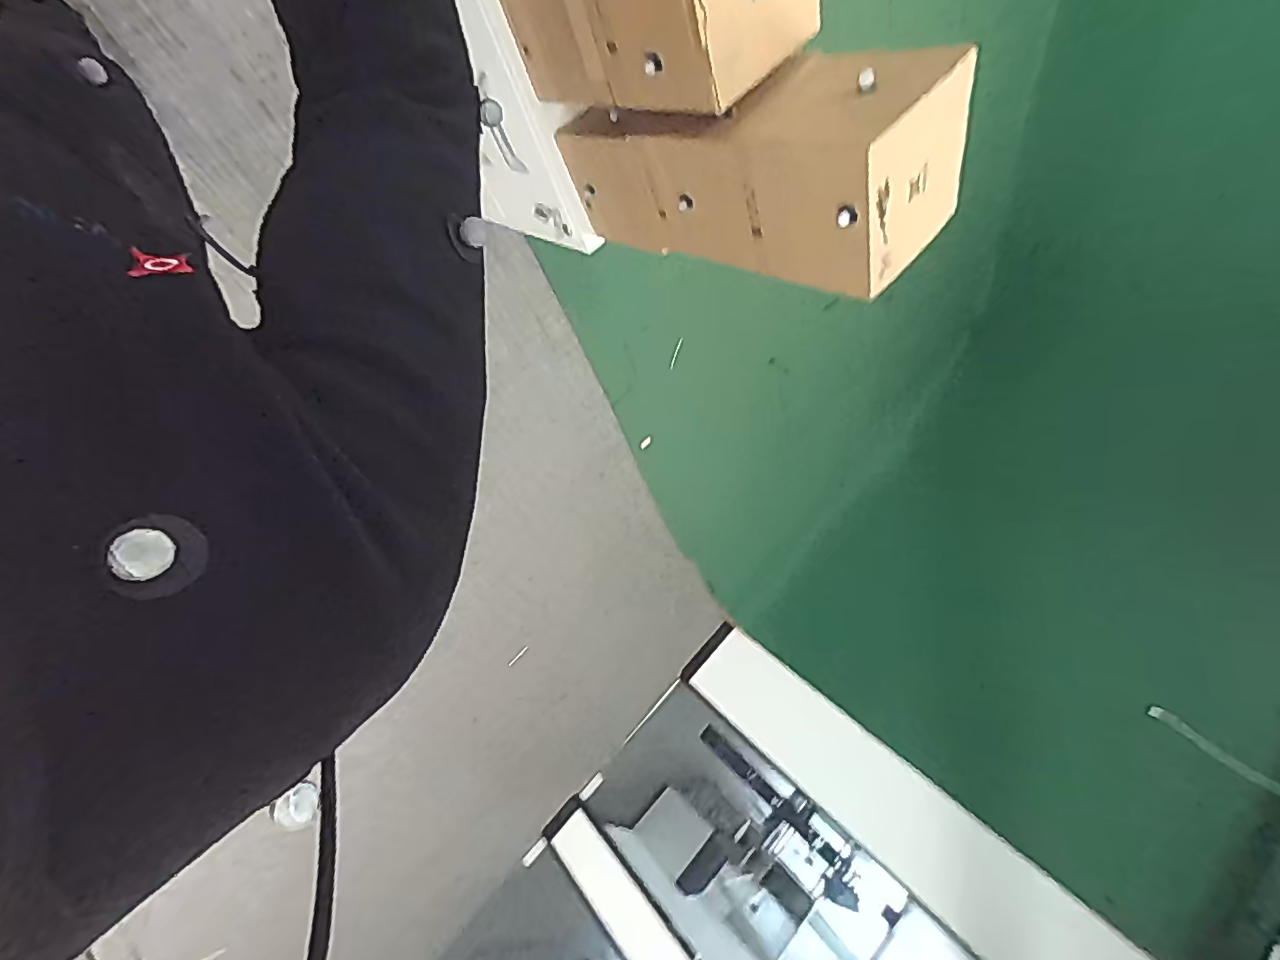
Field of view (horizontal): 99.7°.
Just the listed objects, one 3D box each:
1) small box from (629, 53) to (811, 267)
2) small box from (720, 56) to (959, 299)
[{"bbox_3d":[0.107,-0.412,0.701,0.179,0.176,0.168,-47,142,-12],"label":"small box"},{"bbox_3d":[0.216,-0.338,0.604,0.179,0.176,0.168,-46,142,-14],"label":"small box"}]
